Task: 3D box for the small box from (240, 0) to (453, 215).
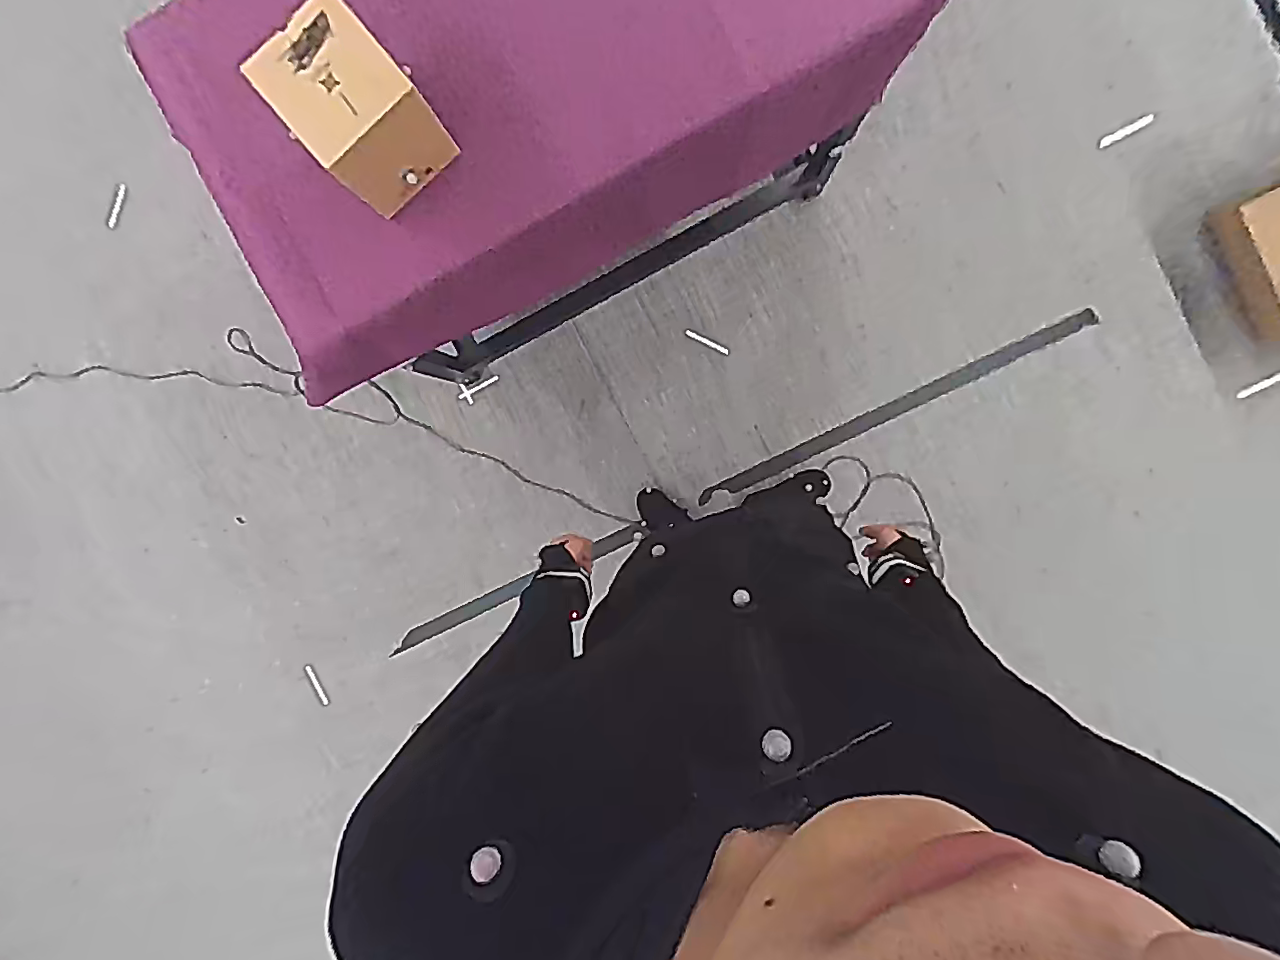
[{"bbox_3d":[-0.414,-0.534,0.794,0.168,0.176,0.179,-41,92,5],"label":"small box"}]
